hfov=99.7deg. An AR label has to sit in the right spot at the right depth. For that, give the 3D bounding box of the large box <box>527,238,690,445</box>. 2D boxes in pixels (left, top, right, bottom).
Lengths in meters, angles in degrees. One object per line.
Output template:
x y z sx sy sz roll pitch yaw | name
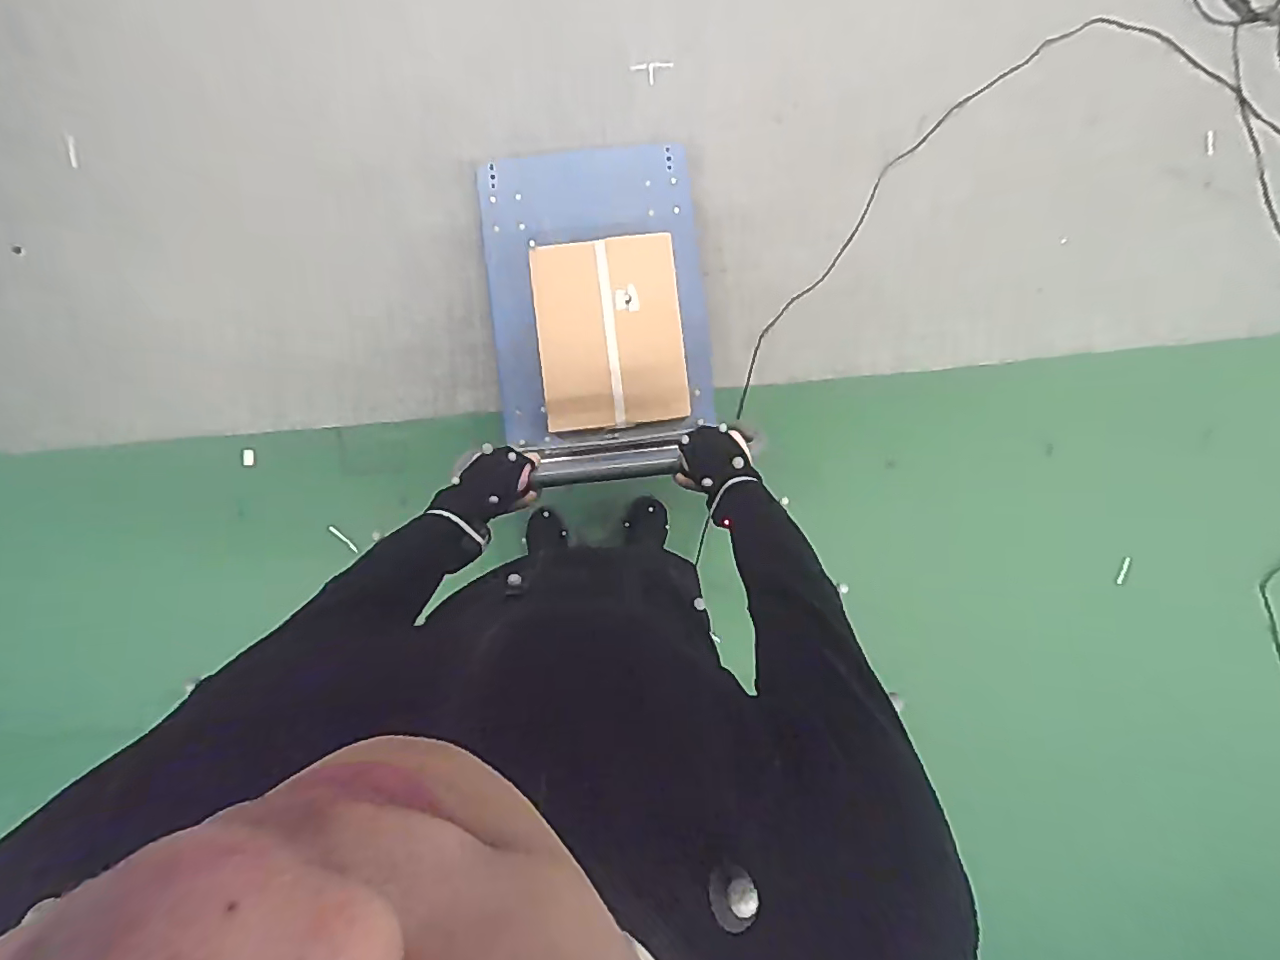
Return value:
-0.070 -0.312 1.322 0.320 0.320 0.408 -7 89 -2 | large box
